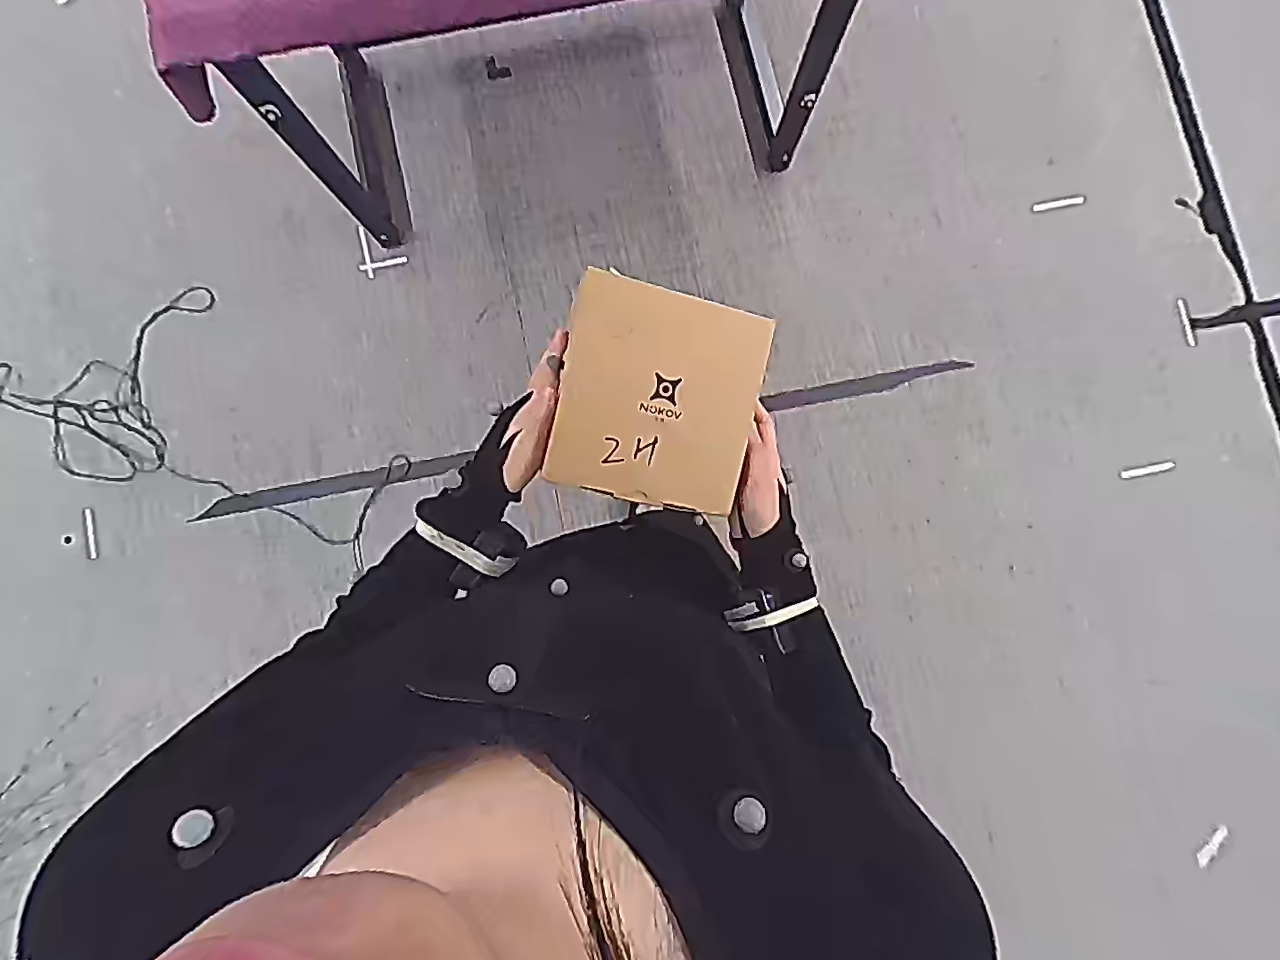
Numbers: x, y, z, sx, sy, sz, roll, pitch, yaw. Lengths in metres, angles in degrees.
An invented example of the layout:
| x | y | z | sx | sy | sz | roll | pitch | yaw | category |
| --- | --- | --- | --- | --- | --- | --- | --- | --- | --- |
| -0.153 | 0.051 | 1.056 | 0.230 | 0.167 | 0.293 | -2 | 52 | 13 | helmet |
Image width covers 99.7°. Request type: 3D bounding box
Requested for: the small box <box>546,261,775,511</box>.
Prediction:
| x | y | z | sx | sy | sz | roll | pitch | yaw | category |
| --- | --- | --- | --- | --- | --- | --- | --- | --- | --- |
| 0.005 | -0.082 | 0.525 | 0.168 | 0.176 | 0.179 | 12 | 95 | -12 | small box |
